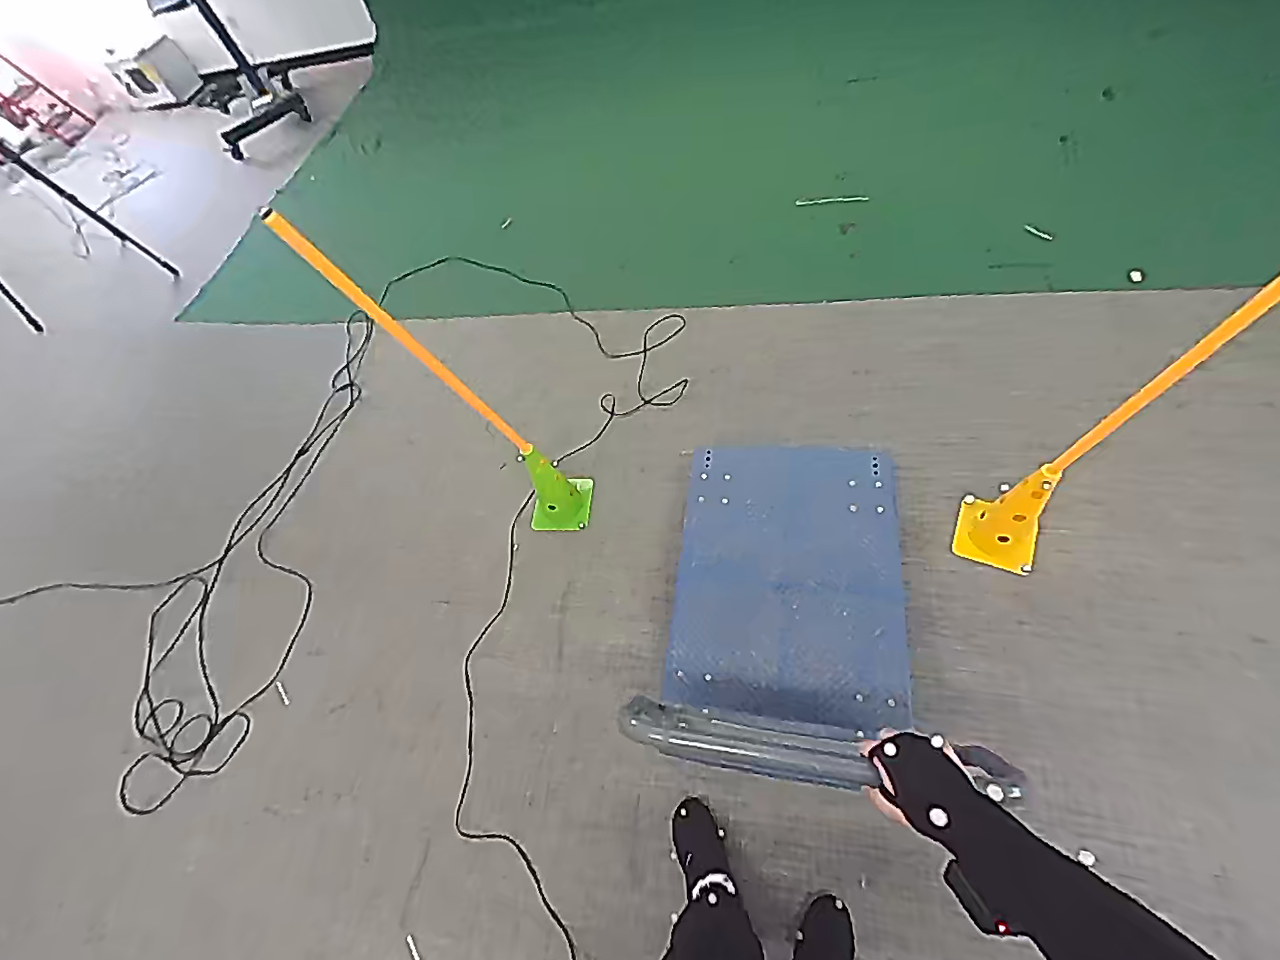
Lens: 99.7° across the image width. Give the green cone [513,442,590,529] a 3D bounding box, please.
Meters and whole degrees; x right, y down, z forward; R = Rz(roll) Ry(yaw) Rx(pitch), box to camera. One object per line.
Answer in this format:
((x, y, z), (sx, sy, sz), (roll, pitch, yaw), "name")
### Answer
((-0.311, -0.010, 1.731), (0.202, 0.368, 0.200), (-2, 59, 13), "green cone")
